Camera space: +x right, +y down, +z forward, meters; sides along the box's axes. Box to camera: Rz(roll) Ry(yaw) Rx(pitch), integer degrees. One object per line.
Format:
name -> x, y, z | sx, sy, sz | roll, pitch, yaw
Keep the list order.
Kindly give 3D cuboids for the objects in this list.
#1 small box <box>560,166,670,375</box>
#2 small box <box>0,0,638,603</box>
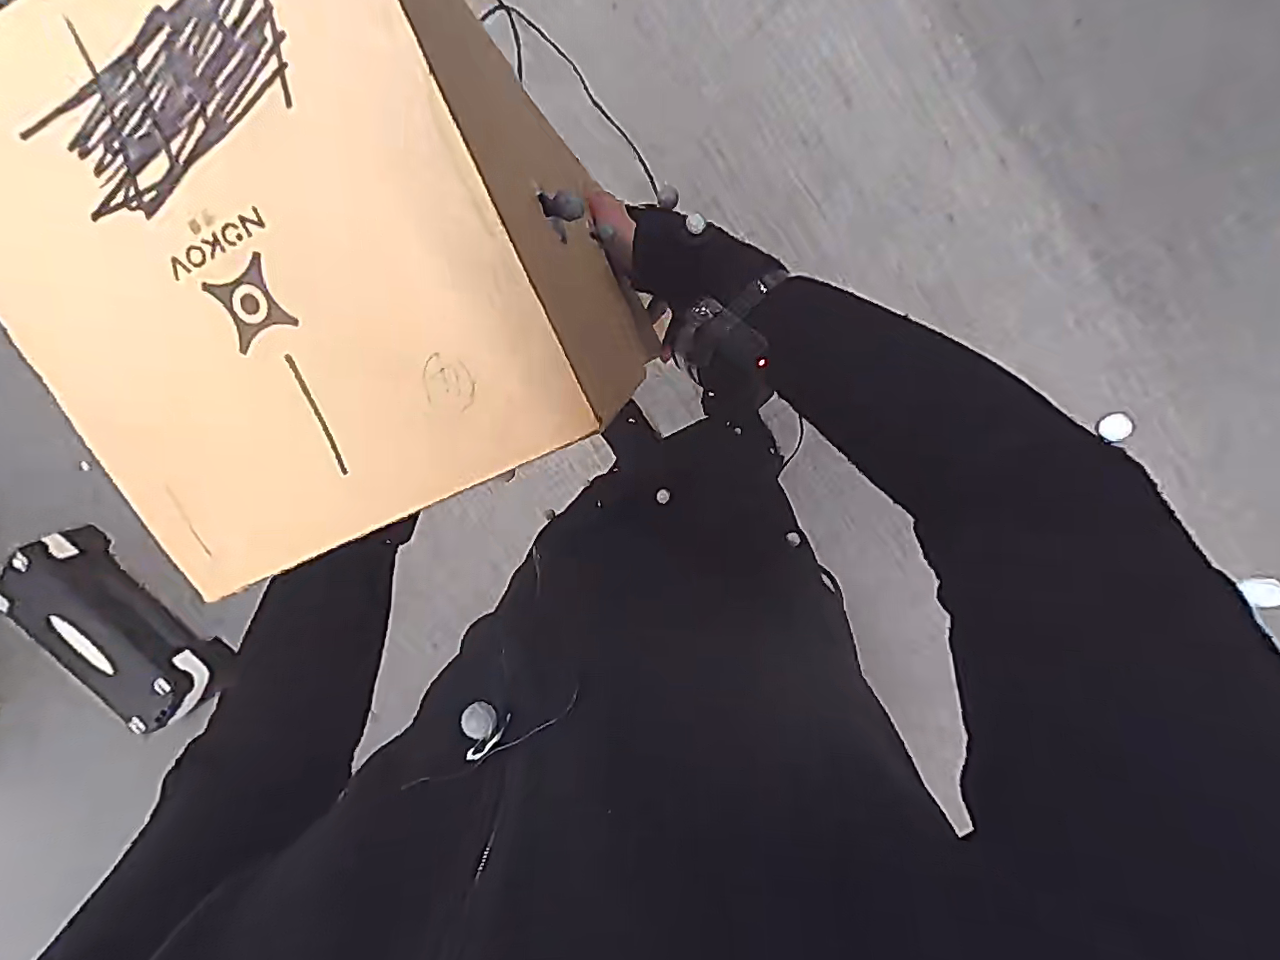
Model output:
small box -> -0.077, -0.176, 0.548 | 0.168, 0.176, 0.179 | -22, 103, 13
small box -> -0.112, -0.082, 0.237 | 0.168, 0.176, 0.179 | -22, 104, 12
